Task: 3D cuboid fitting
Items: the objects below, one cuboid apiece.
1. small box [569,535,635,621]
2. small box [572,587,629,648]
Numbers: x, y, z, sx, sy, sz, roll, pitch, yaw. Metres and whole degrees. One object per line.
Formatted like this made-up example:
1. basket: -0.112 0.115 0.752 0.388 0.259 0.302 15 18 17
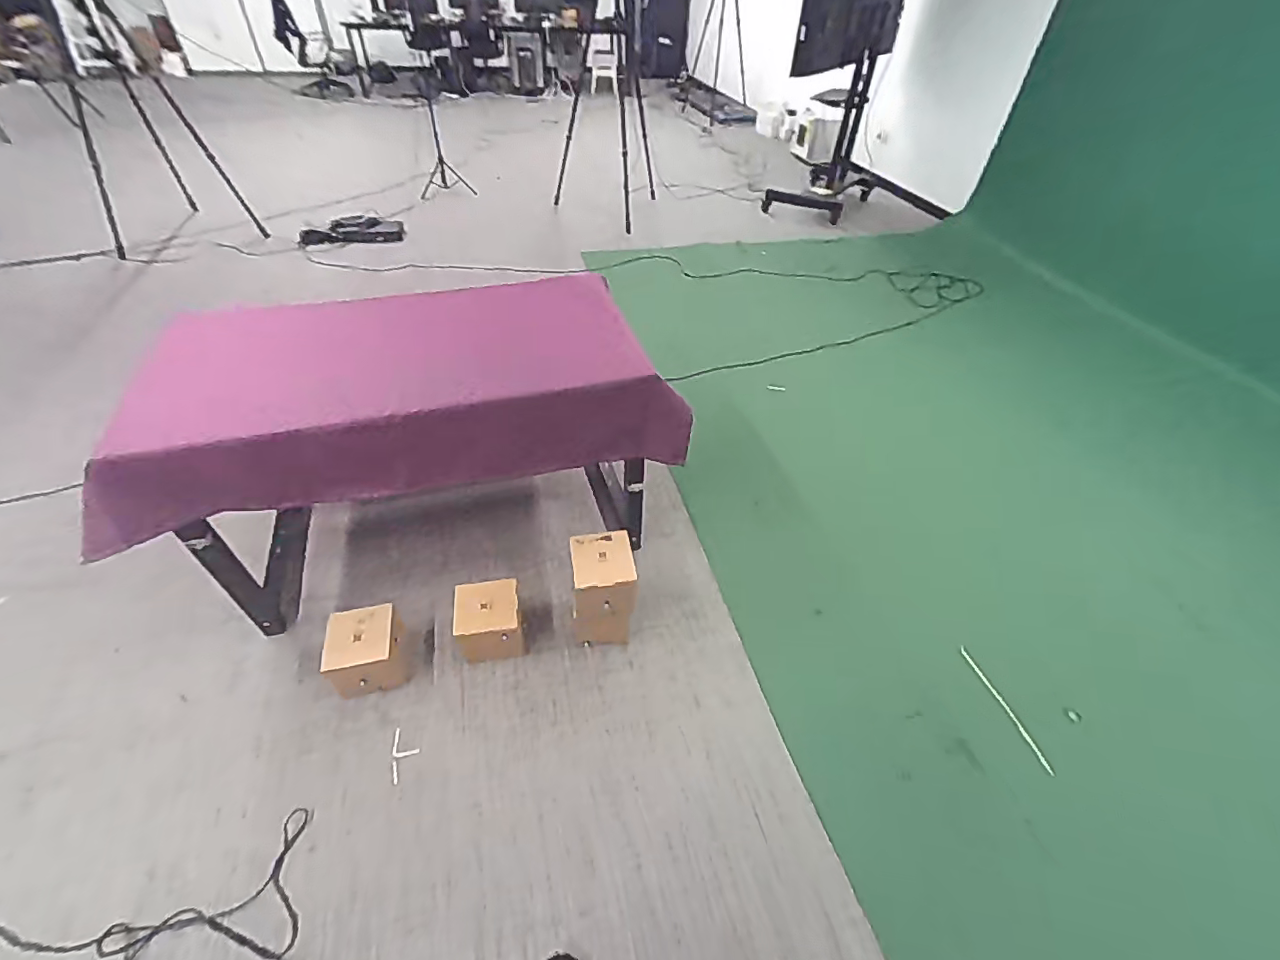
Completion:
1. small box: -0.107 0.280 1.514 0.168 0.176 0.179 -5 46 -8
2. small box: -0.118 0.393 1.633 0.168 0.176 0.179 -2 44 -6
